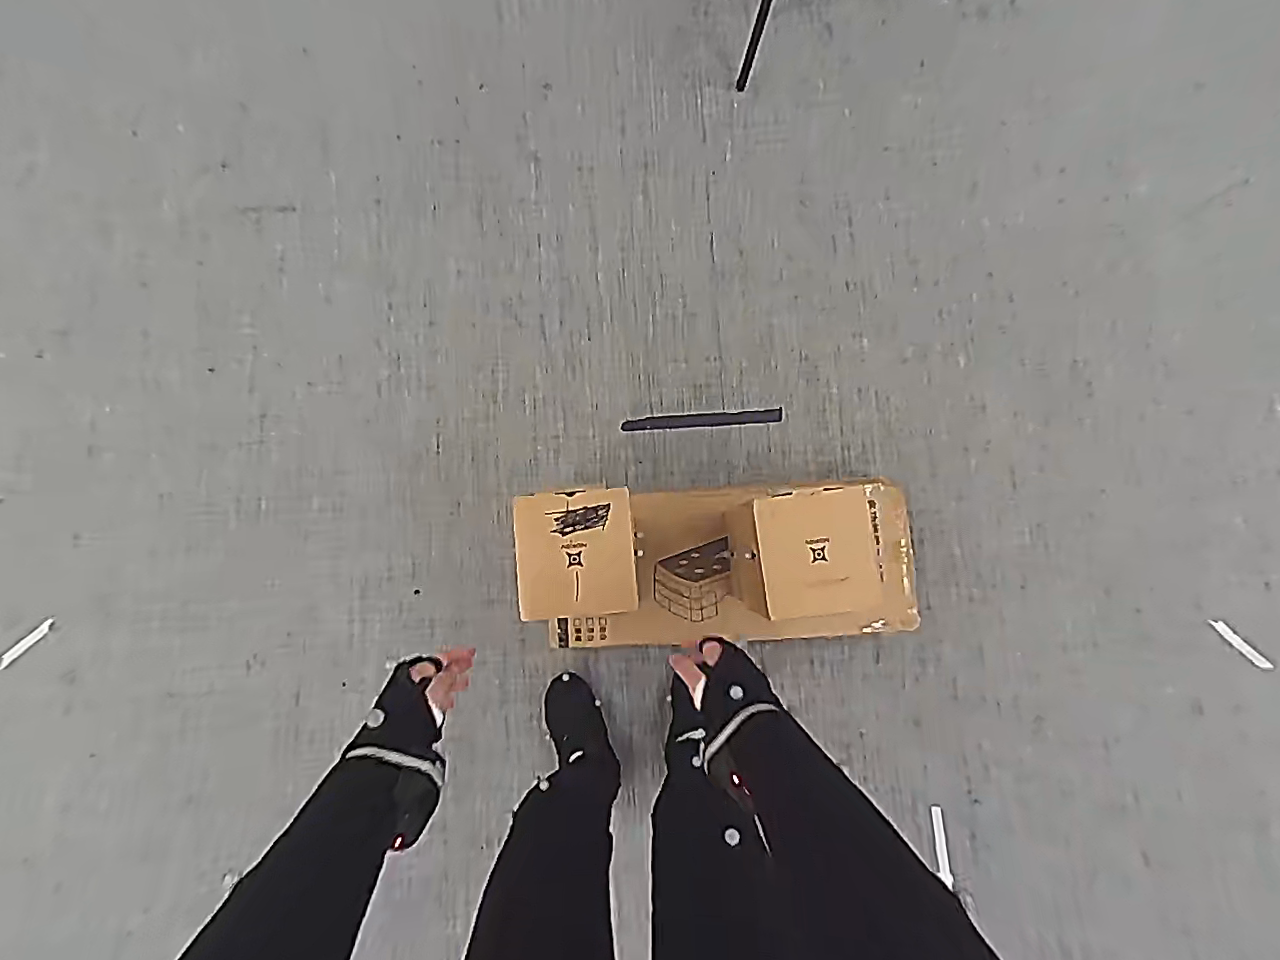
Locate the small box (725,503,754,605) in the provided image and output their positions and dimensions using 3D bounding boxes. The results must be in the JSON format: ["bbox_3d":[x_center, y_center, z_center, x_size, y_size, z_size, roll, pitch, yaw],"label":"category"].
[{"bbox_3d":[0.258,0.127,1.002,0.168,0.176,0.179,-5,84,-2],"label":"small box"}]

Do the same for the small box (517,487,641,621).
[{"bbox_3d":[-0.090,0.112,0.832,0.168,0.176,0.179,-5,84,-2],"label":"small box"}]

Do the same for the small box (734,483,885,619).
[{"bbox_3d":[0.250,0.109,0.841,0.168,0.176,0.179,-8,84,-1],"label":"small box"}]
